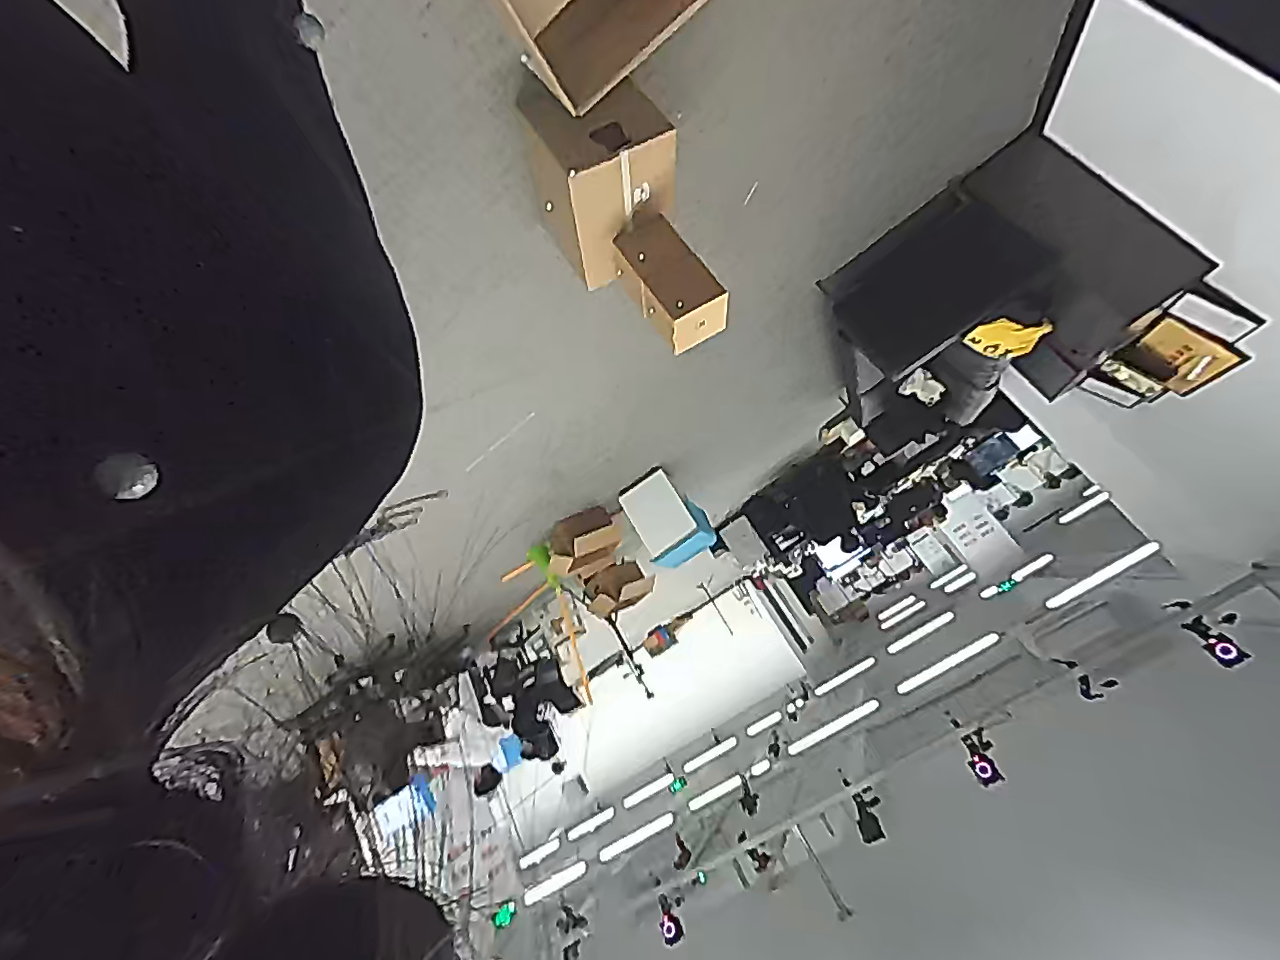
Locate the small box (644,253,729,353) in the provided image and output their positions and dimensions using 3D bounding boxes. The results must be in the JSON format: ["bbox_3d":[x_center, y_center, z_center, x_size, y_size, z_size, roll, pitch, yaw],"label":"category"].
[{"bbox_3d":[0.129,-0.503,1.532,0.179,0.176,0.168,-30,160,-6],"label":"small box"}]
